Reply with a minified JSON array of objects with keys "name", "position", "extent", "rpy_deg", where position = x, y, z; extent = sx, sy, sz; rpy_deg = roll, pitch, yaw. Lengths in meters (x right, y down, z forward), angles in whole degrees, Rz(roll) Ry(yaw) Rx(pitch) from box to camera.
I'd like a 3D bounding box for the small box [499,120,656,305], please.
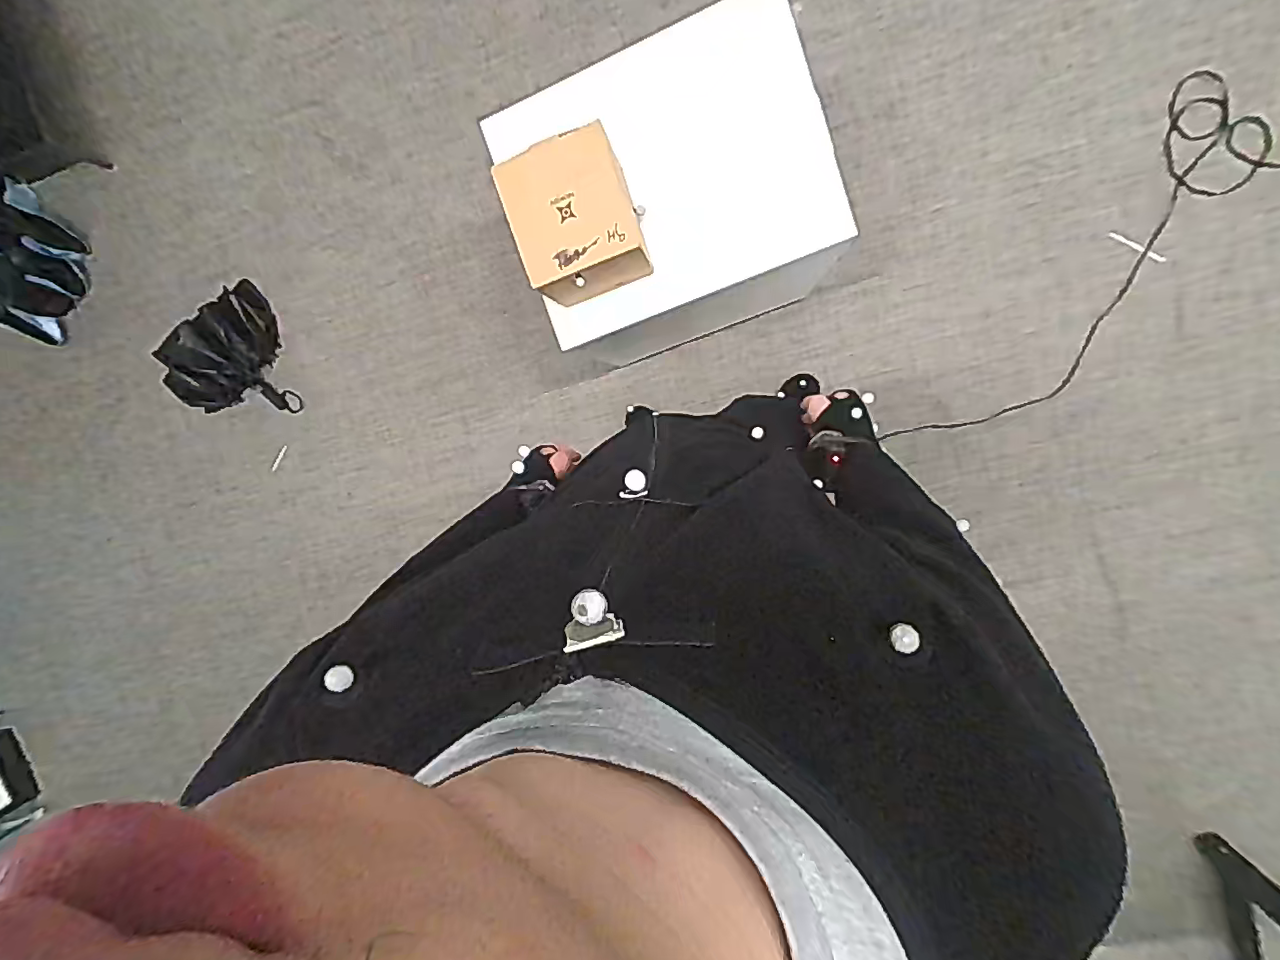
[{"name":"small box","position":[-0.084,-0.387,0.819],"extent":[0.168,0.176,0.179],"rpy_deg":[-17,95,11]}]
